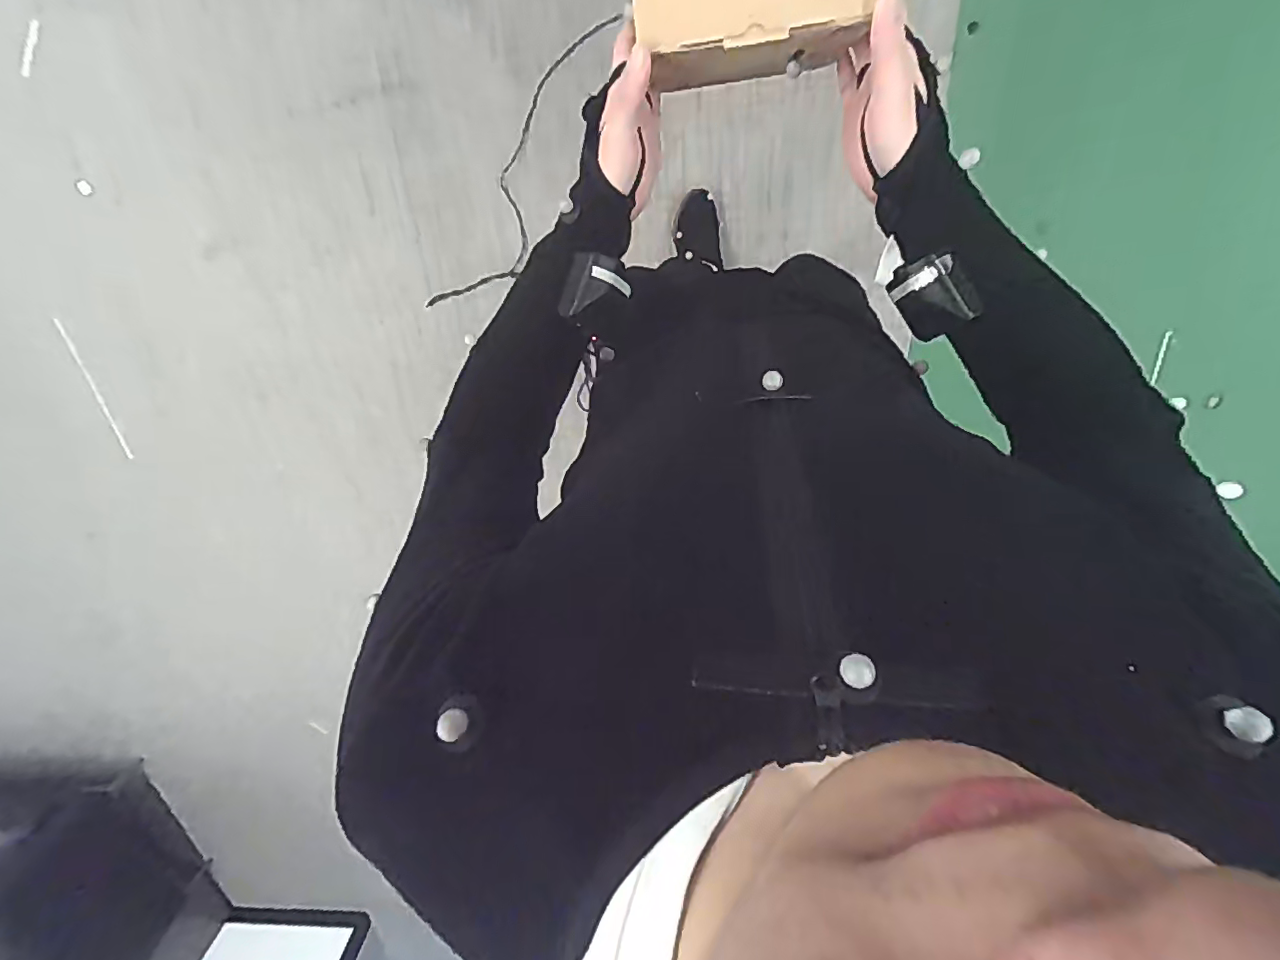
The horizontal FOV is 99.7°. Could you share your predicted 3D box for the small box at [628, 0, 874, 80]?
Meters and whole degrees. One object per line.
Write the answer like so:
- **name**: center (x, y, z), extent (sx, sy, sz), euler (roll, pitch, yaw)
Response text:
- **small box**: center (0.077, -0.419, 0.401), extent (0.168, 0.176, 0.179), euler (-2, 117, 8)
